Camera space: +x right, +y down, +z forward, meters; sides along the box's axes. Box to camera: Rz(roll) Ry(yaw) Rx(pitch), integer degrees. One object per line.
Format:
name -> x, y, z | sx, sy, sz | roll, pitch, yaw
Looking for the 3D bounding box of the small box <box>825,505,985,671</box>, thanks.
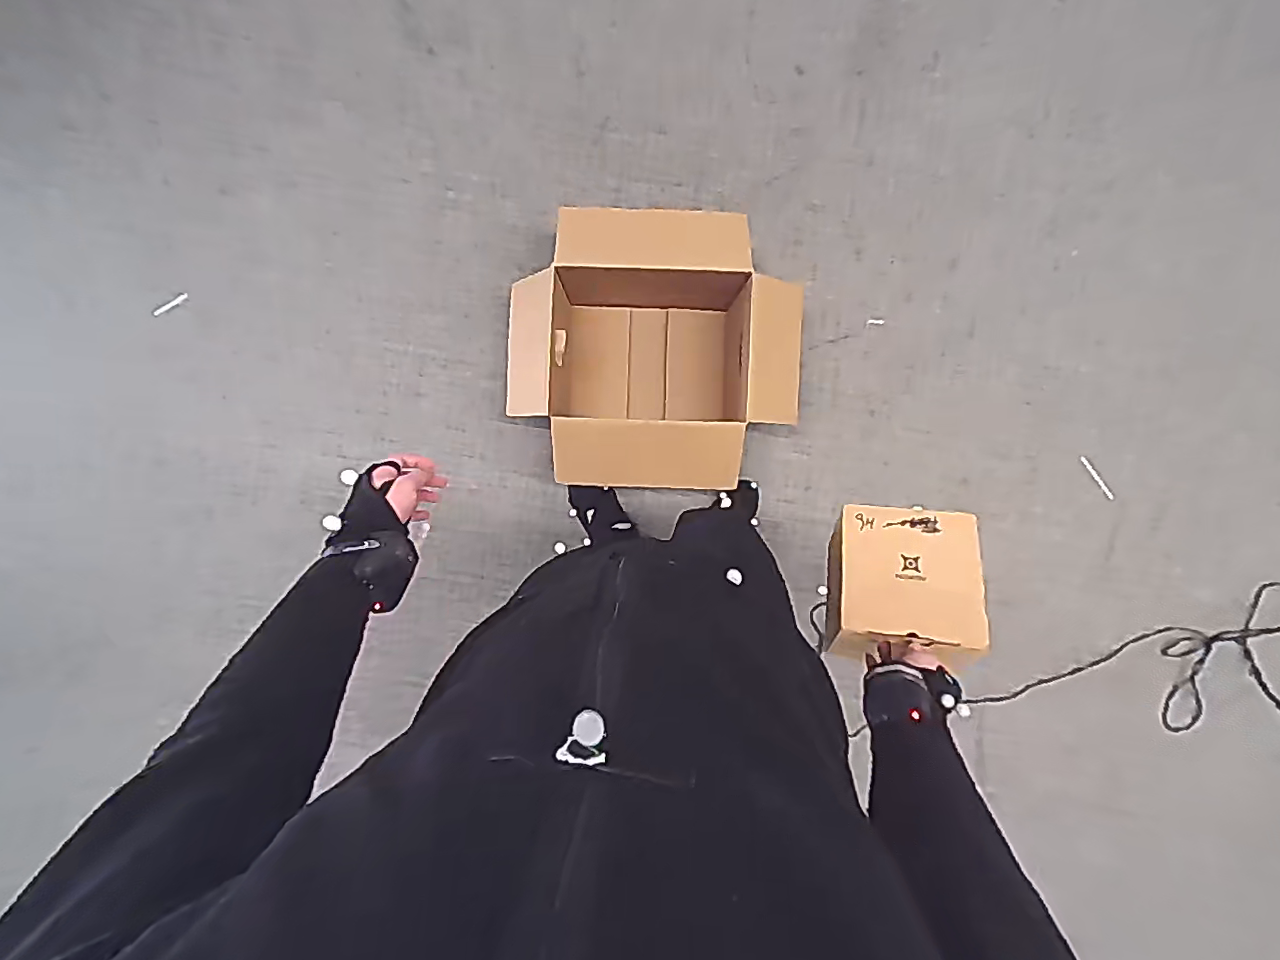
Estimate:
small box -> 0.353, 0.154, 0.750 | 0.168, 0.176, 0.179 | 5, 62, 14
